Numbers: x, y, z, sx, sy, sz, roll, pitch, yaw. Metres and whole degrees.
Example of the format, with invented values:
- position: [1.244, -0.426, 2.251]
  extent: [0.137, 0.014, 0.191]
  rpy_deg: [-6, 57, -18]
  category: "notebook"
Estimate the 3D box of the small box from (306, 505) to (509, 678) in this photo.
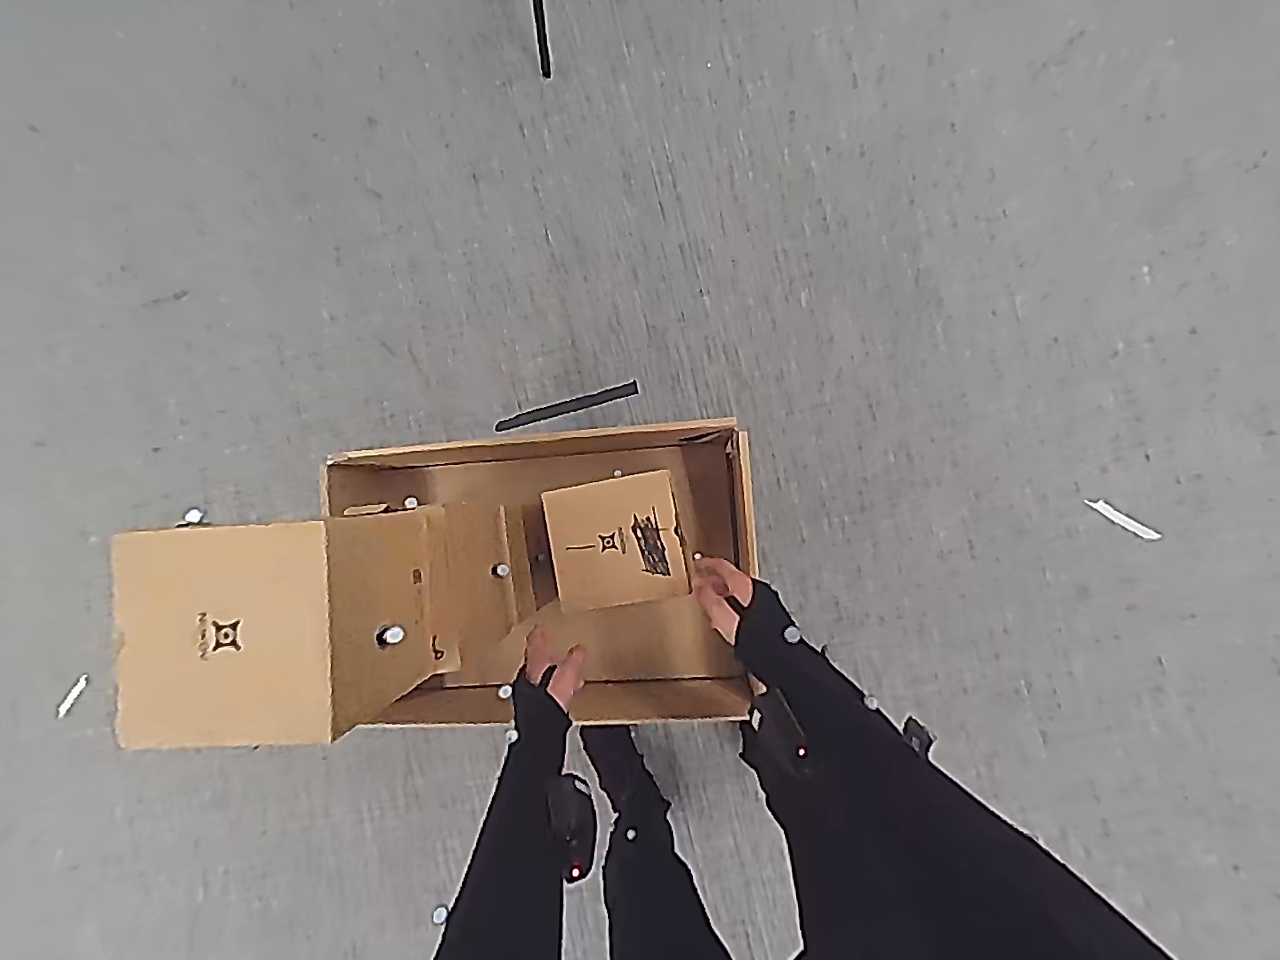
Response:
- position: [-0.266, 0.126, 0.641]
  extent: [0.168, 0.176, 0.179]
  rpy_deg: [-7, 86, 5]
  category: "small box"

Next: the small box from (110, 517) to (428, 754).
- position: [-0.304, 0.121, 0.481]
  extent: [0.179, 0.176, 0.168]
  rpy_deg: [-4, 87, 5]
  category: "small box"
